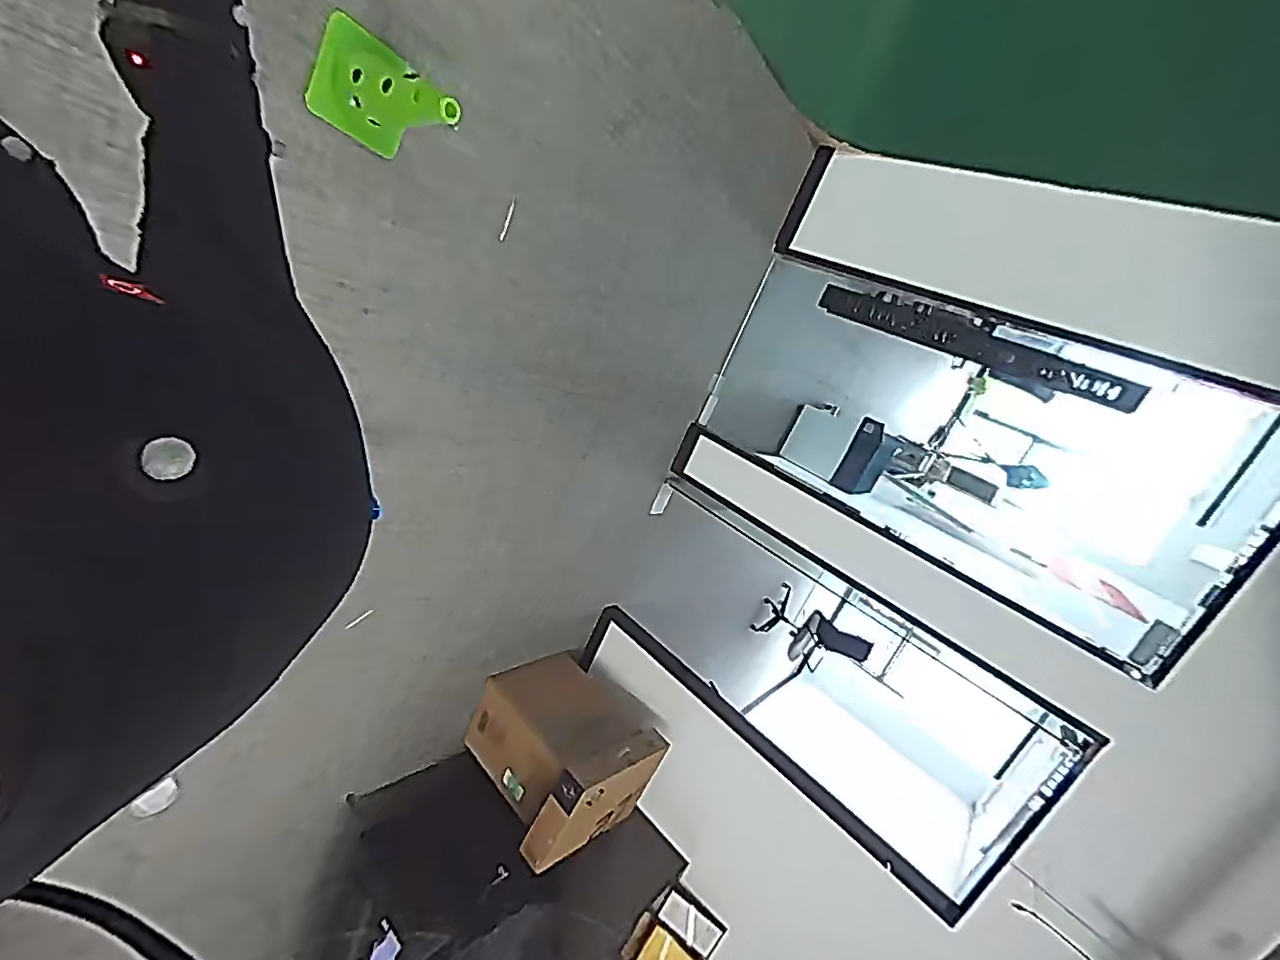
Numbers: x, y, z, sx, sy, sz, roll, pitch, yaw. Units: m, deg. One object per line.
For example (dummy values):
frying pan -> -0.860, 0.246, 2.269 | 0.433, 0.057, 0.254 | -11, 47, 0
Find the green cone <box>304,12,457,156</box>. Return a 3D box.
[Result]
green cone -> -0.482, -0.770, 1.087 | 0.200, 0.368, 0.202 | 8, 112, -55
